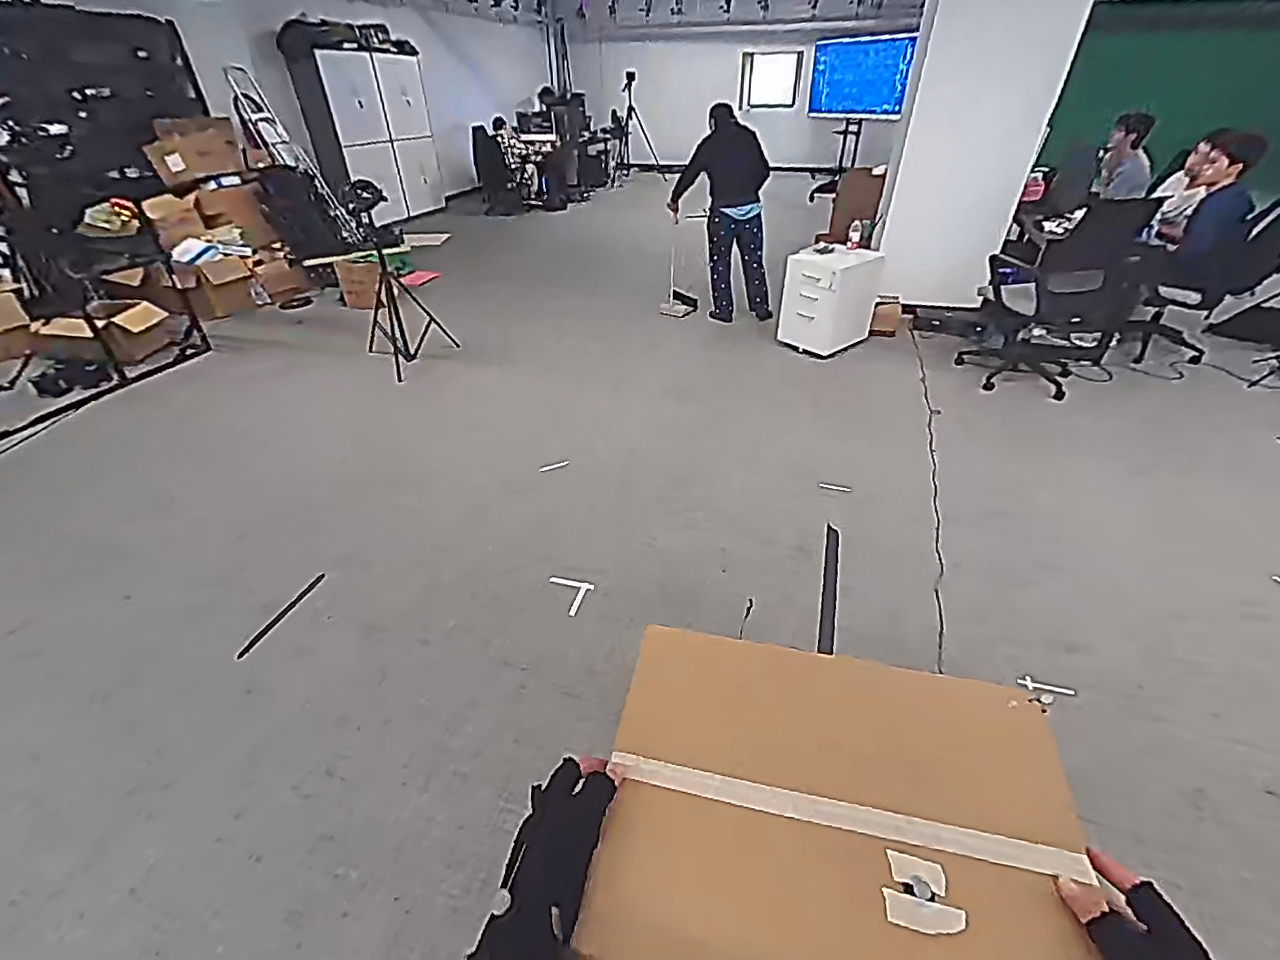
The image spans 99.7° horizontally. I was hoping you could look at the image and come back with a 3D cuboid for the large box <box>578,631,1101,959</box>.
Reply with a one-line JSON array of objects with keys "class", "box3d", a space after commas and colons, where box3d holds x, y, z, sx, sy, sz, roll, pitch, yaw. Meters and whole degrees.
[{"class": "large box", "box3d": [0.180, 0.410, 0.596, 0.408, 0.320, 0.320, 7, 44, 12]}]
